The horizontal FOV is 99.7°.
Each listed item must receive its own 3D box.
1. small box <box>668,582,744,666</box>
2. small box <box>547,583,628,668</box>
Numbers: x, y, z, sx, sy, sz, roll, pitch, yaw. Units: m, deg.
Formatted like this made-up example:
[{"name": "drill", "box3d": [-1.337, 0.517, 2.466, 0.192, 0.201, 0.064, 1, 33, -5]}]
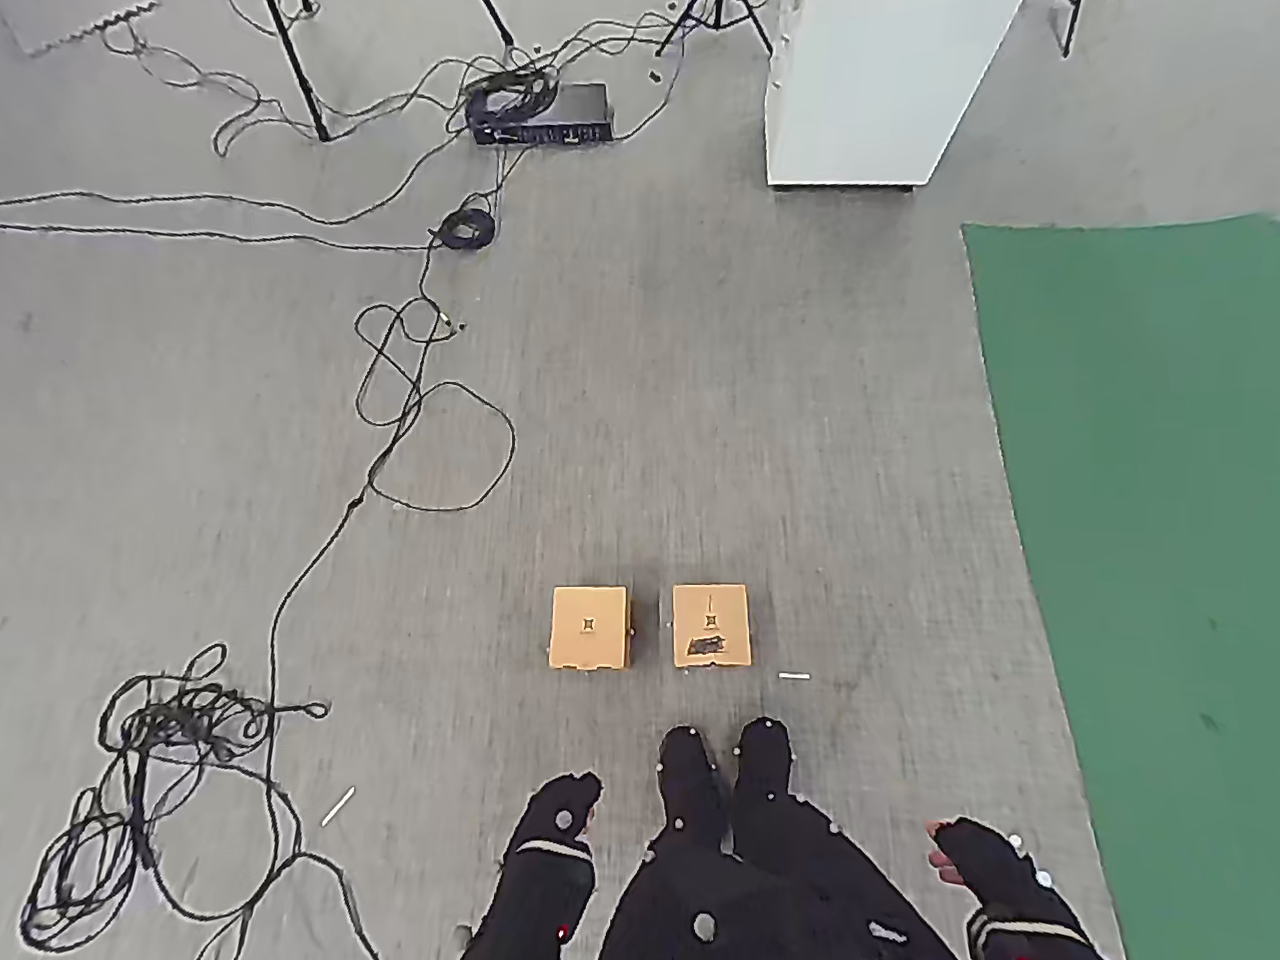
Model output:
[{"name": "small box", "box3d": [0.149, 0.340, 1.264, 0.168, 0.176, 0.179, -1, 69, 2]}, {"name": "small box", "box3d": [-0.117, 0.346, 1.275, 0.168, 0.176, 0.179, 0, 70, 3]}]
